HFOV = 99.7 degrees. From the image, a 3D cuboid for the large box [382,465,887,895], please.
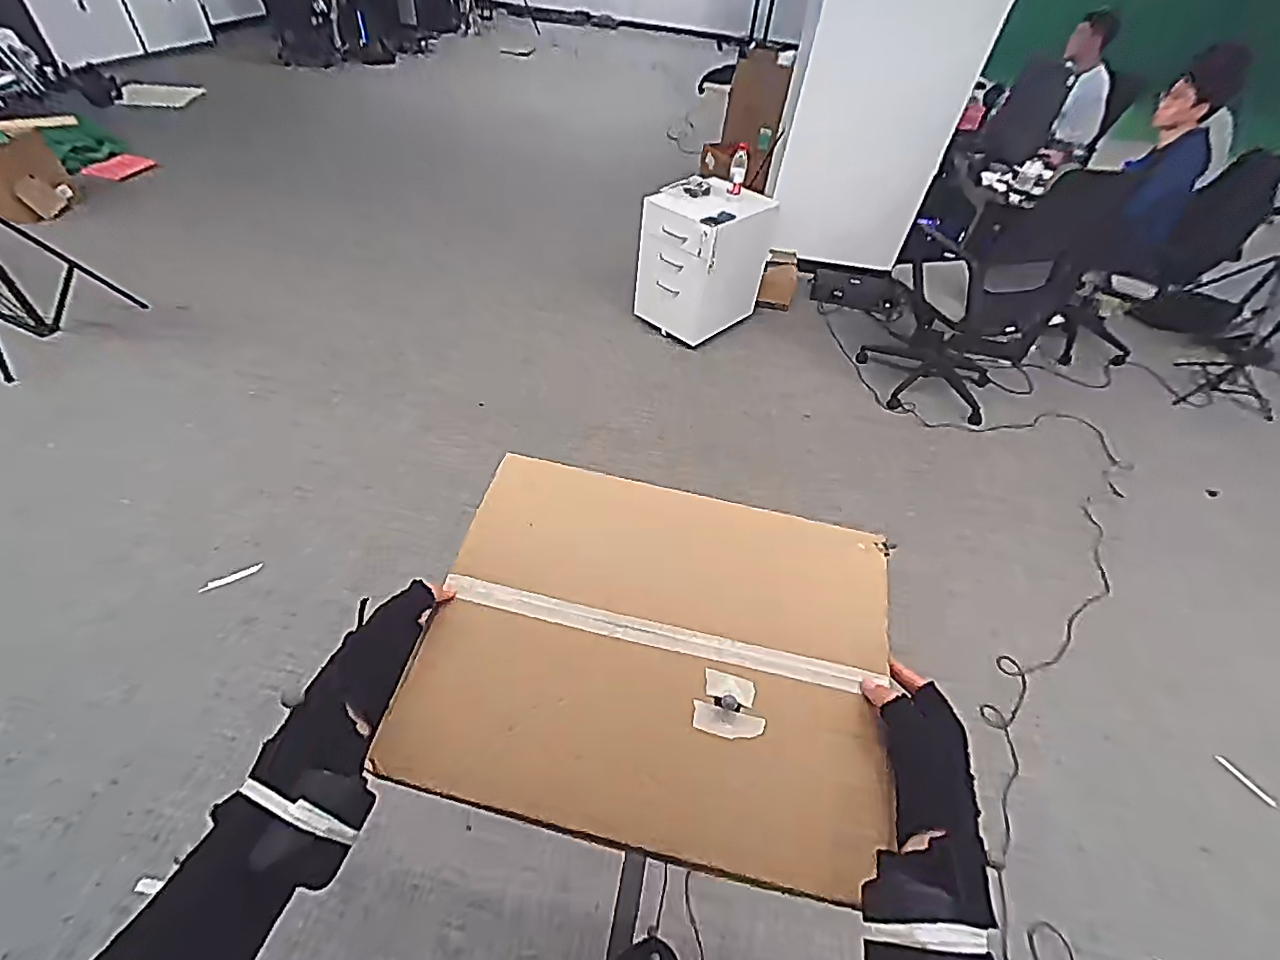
[{"bbox_3d":[0.008,0.227,0.615,0.408,0.320,0.320,13,57,3],"label":"large box"}]
